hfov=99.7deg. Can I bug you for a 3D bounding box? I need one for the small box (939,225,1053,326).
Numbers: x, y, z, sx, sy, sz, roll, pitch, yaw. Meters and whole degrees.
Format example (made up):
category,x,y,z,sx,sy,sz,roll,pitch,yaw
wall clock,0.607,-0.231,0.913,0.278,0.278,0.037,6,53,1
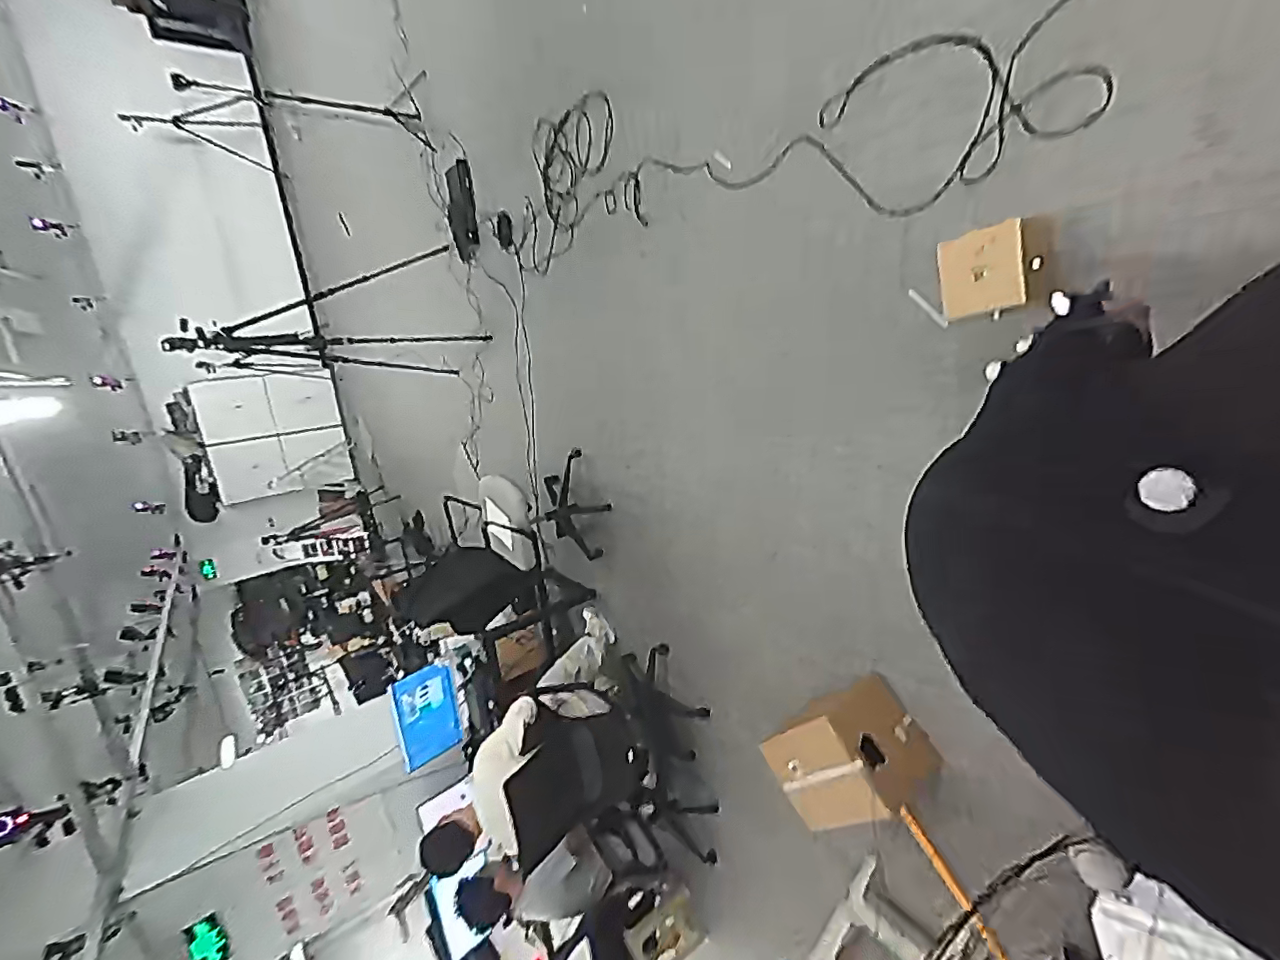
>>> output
category,x,y,z,sx,sy,sz,roll,pitch,yaw
small box,0.807,-0.459,1.221,0.168,0.176,0.179,1,103,54
